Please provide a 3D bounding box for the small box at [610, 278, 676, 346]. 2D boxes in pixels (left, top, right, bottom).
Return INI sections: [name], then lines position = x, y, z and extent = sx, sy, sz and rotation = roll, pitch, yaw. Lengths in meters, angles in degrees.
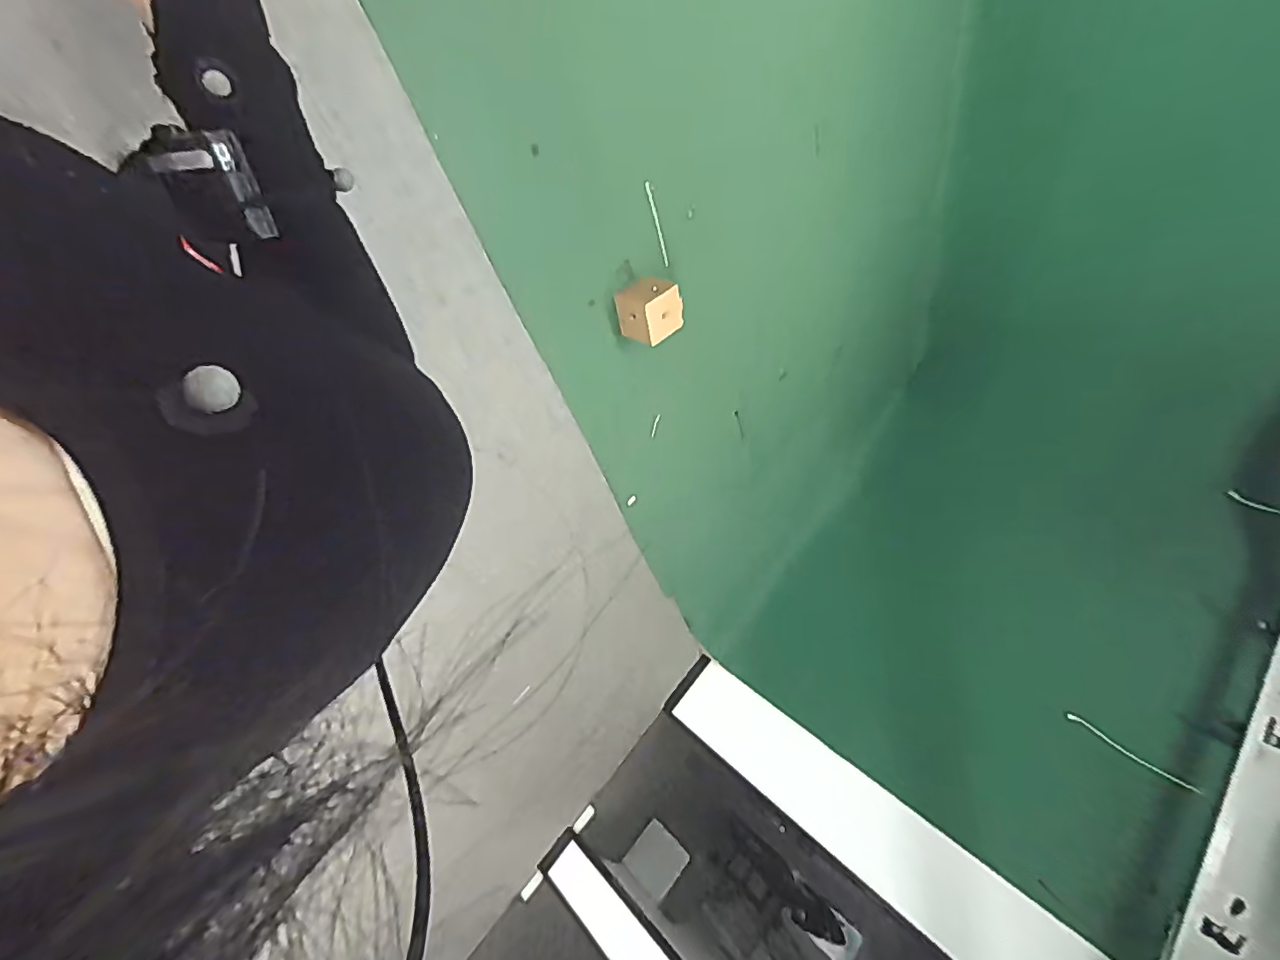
[small box]
position = 0.006, -0.626, 2.003
extent = 0.179, 0.176, 0.168
rotation = -41, 140, -26
